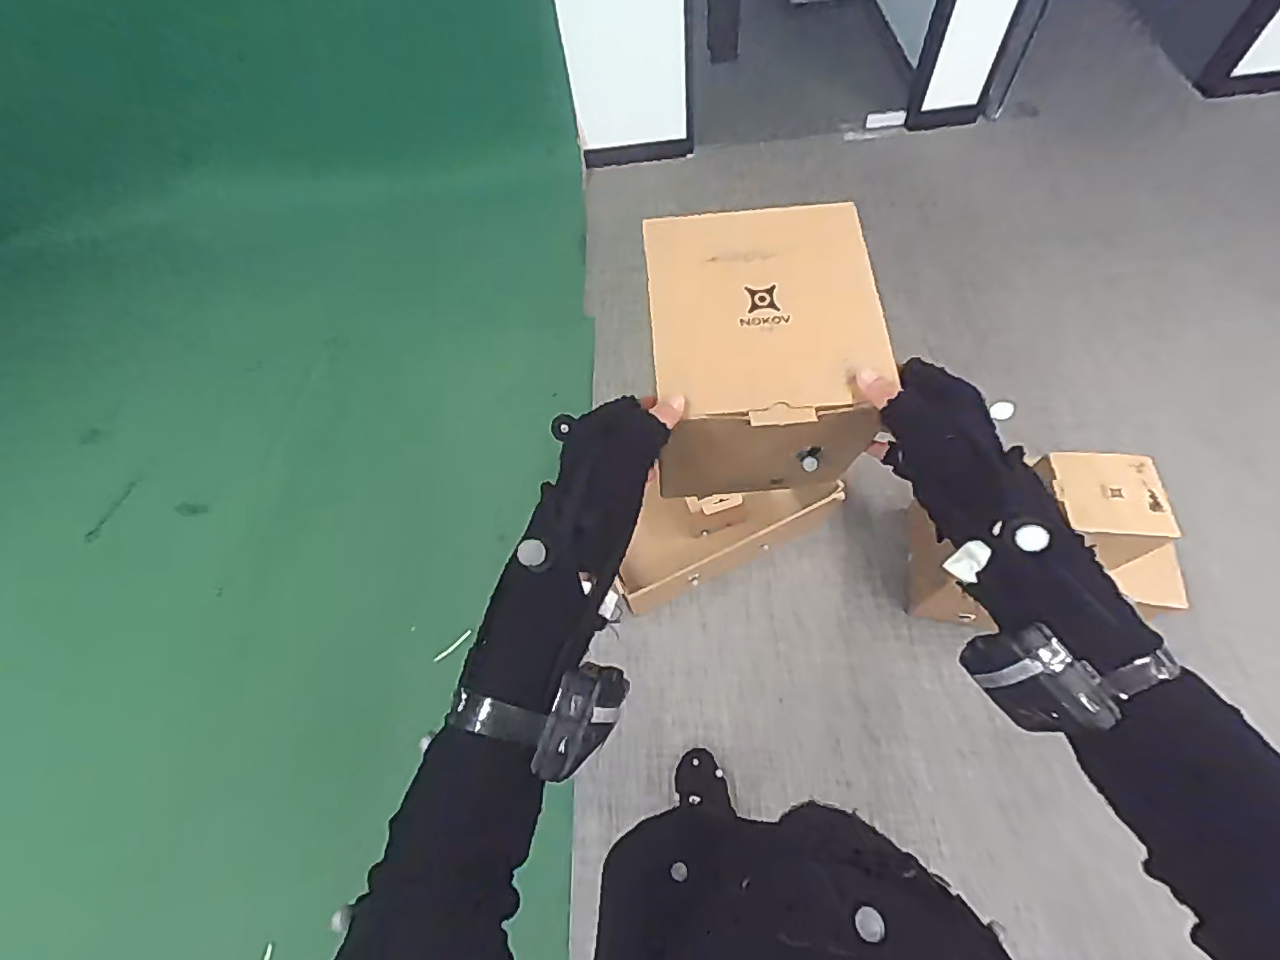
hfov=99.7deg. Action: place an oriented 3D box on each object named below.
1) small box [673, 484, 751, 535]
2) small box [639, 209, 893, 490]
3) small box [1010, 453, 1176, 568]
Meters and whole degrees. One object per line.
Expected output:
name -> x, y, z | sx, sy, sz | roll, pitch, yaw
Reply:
small box -> 0.187, 0.030, 1.439 | 0.168, 0.176, 0.179 | -18, 59, -3
small box -> 0.089, -0.097, 0.468 | 0.168, 0.176, 0.179 | -4, 68, 0
small box -> 0.849, 0.062, 1.042 | 0.179, 0.176, 0.168 | 2, 62, 8
